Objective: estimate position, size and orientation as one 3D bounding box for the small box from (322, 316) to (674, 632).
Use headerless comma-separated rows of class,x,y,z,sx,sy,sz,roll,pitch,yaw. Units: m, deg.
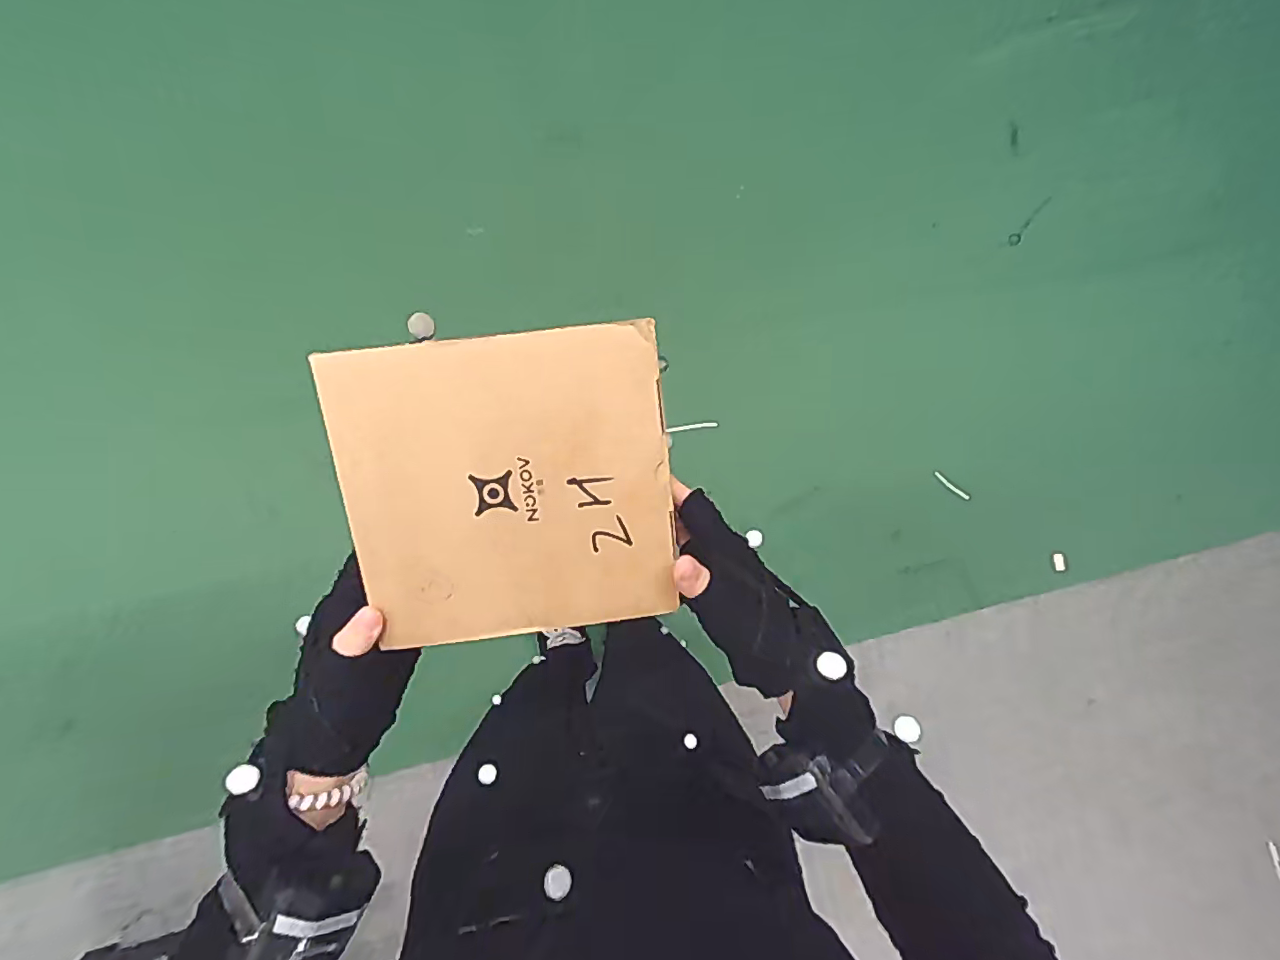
small box,-0.078,-0.016,0.377,0.179,0.176,0.168,-7,104,-3
